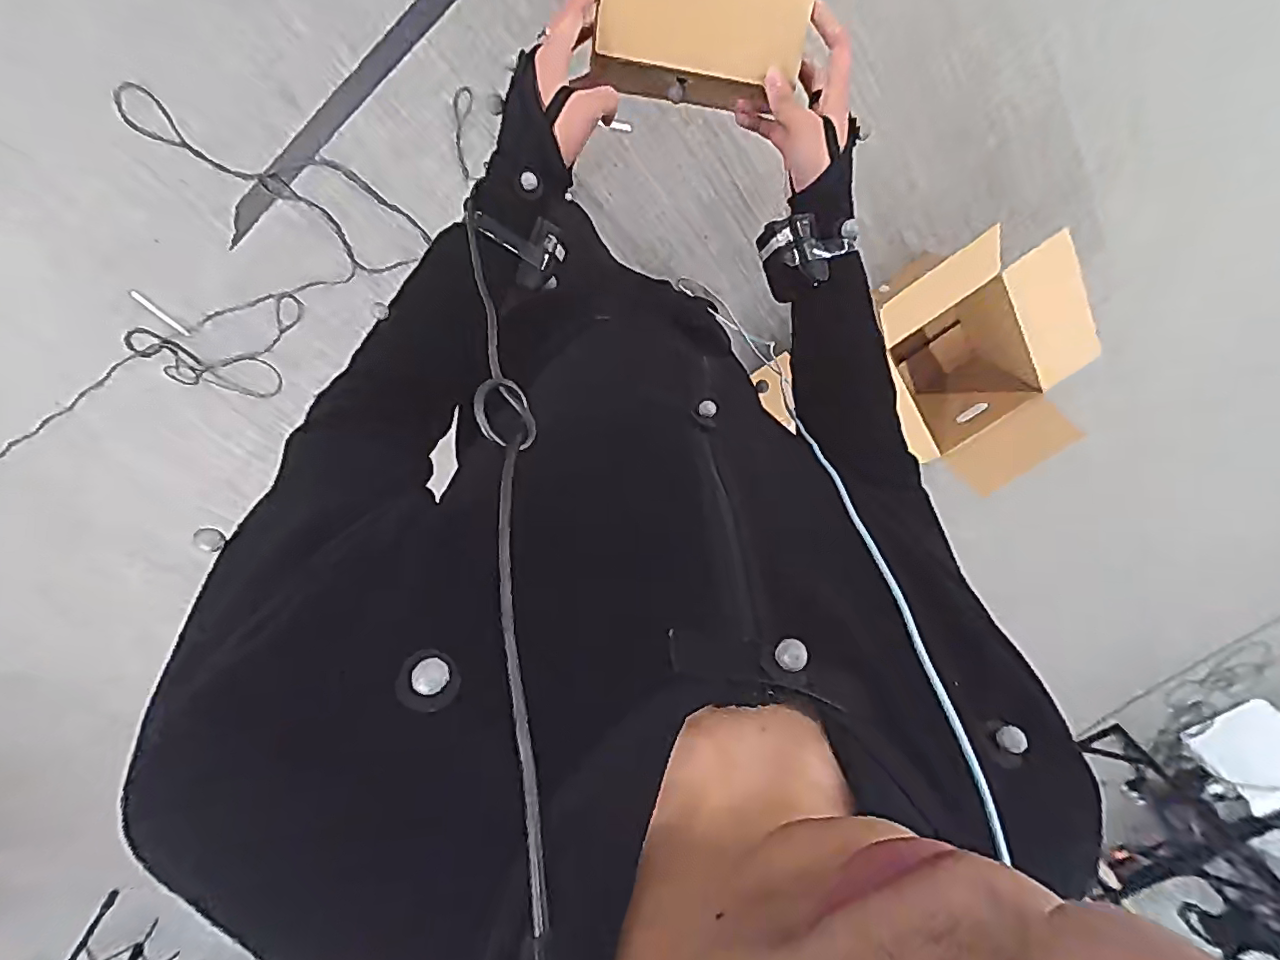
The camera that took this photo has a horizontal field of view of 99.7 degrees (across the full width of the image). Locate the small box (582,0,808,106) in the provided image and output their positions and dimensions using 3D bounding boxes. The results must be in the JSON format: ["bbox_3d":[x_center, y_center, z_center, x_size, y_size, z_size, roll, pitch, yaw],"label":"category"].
[{"bbox_3d":[0.044,-0.446,0.478,0.179,0.176,0.168,3,119,-9],"label":"small box"}]
